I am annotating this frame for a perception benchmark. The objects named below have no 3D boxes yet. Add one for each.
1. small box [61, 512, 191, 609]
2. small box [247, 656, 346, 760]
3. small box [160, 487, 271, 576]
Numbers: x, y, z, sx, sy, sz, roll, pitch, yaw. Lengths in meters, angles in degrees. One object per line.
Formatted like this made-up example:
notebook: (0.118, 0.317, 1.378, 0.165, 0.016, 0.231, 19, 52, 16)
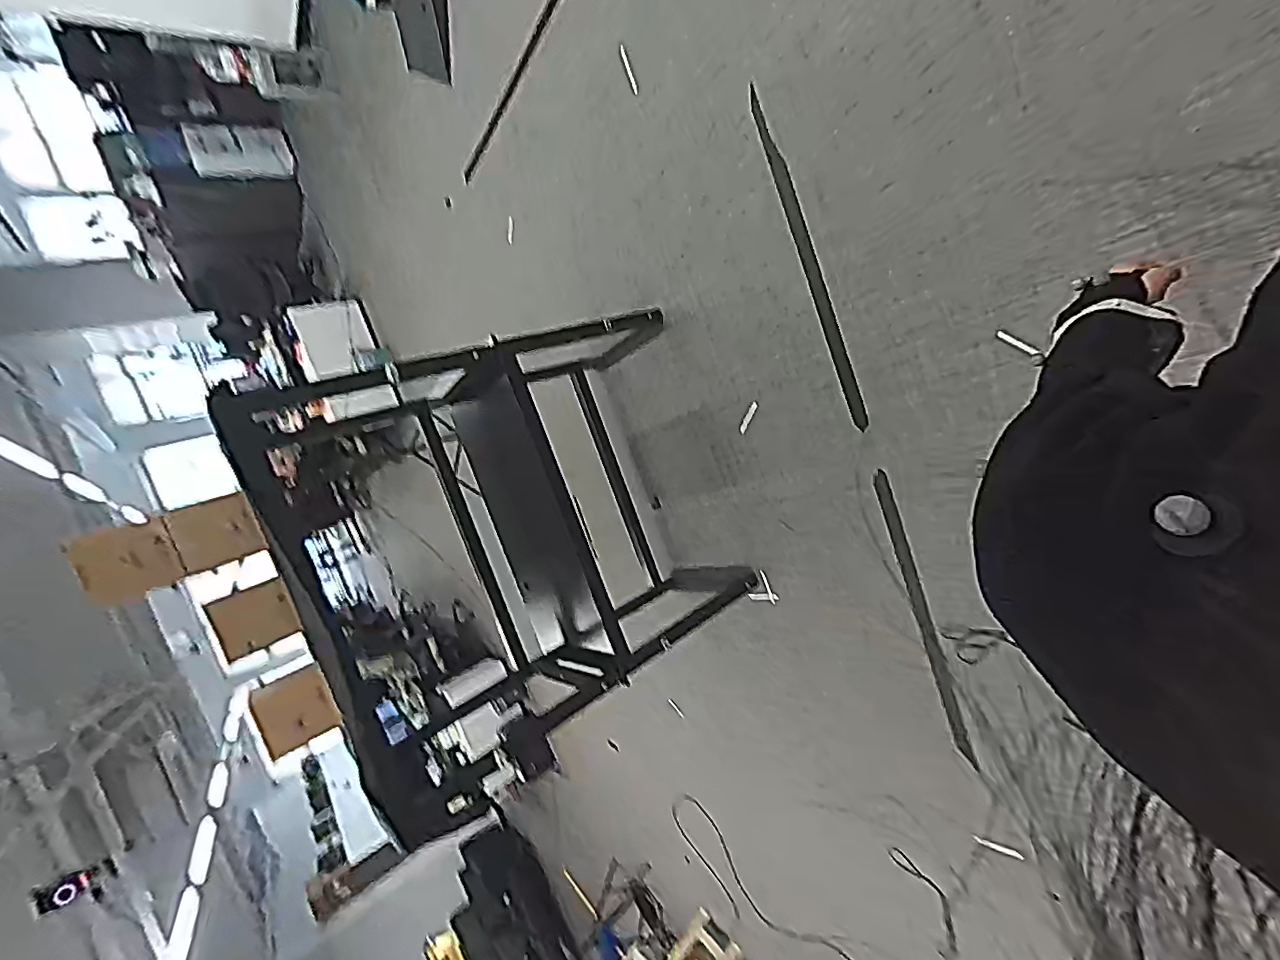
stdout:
small box: (-1.164, 0.179, 1.248, 0.179, 0.176, 0.168, -11, 101, 54)
small box: (-0.883, 0.577, 1.396, 0.179, 0.176, 0.168, -9, 101, 56)
small box: (-1.039, 0.126, 1.340, 0.179, 0.176, 0.168, -12, 101, 55)
